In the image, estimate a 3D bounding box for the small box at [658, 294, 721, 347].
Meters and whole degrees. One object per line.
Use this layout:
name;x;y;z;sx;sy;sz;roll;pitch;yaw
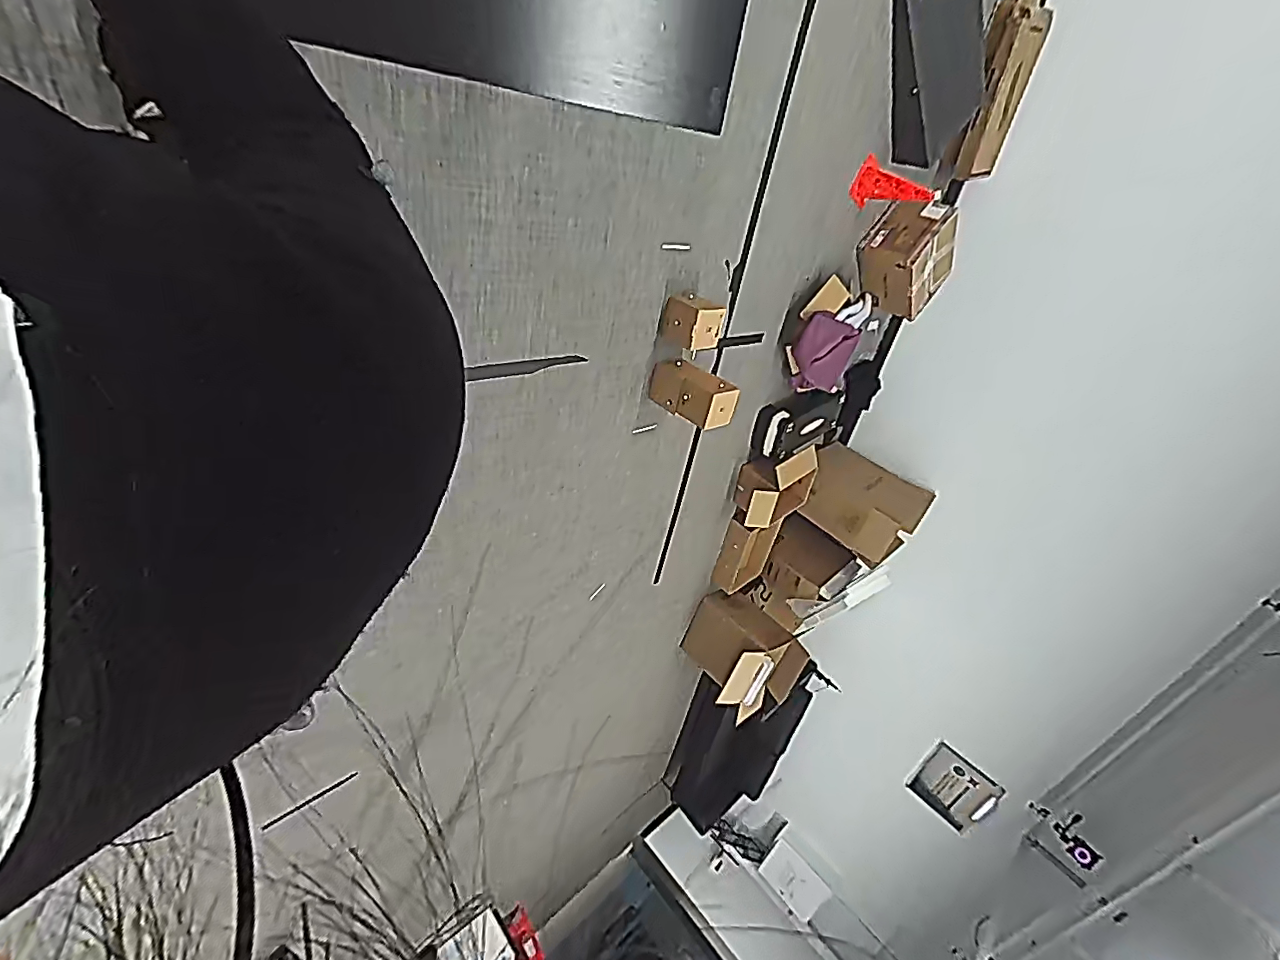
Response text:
small box;0.198;-0.654;2.210;0.179;0.176;0.168;-18;133;-41

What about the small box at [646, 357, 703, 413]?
small box;0.146;-0.418;2.368;0.168;0.176;0.179;-21;136;-39

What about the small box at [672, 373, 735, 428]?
small box;0.265;-0.342;2.286;0.179;0.176;0.168;-18;133;-40
